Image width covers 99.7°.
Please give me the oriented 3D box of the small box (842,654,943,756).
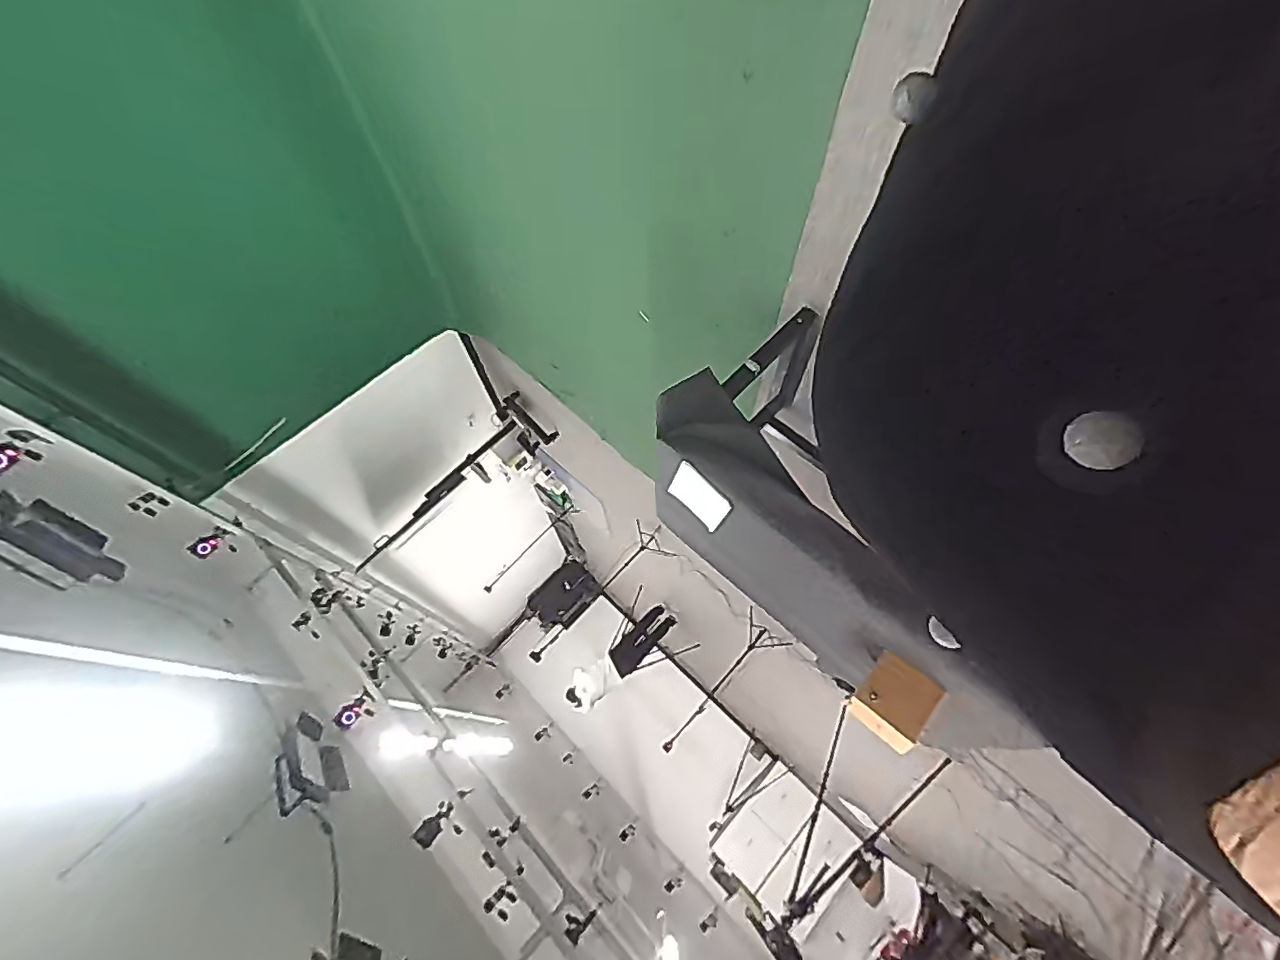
[{"bbox_3d":[0.678,0.604,1.457,0.179,0.176,0.168,36,160,31],"label":"small box"}]
